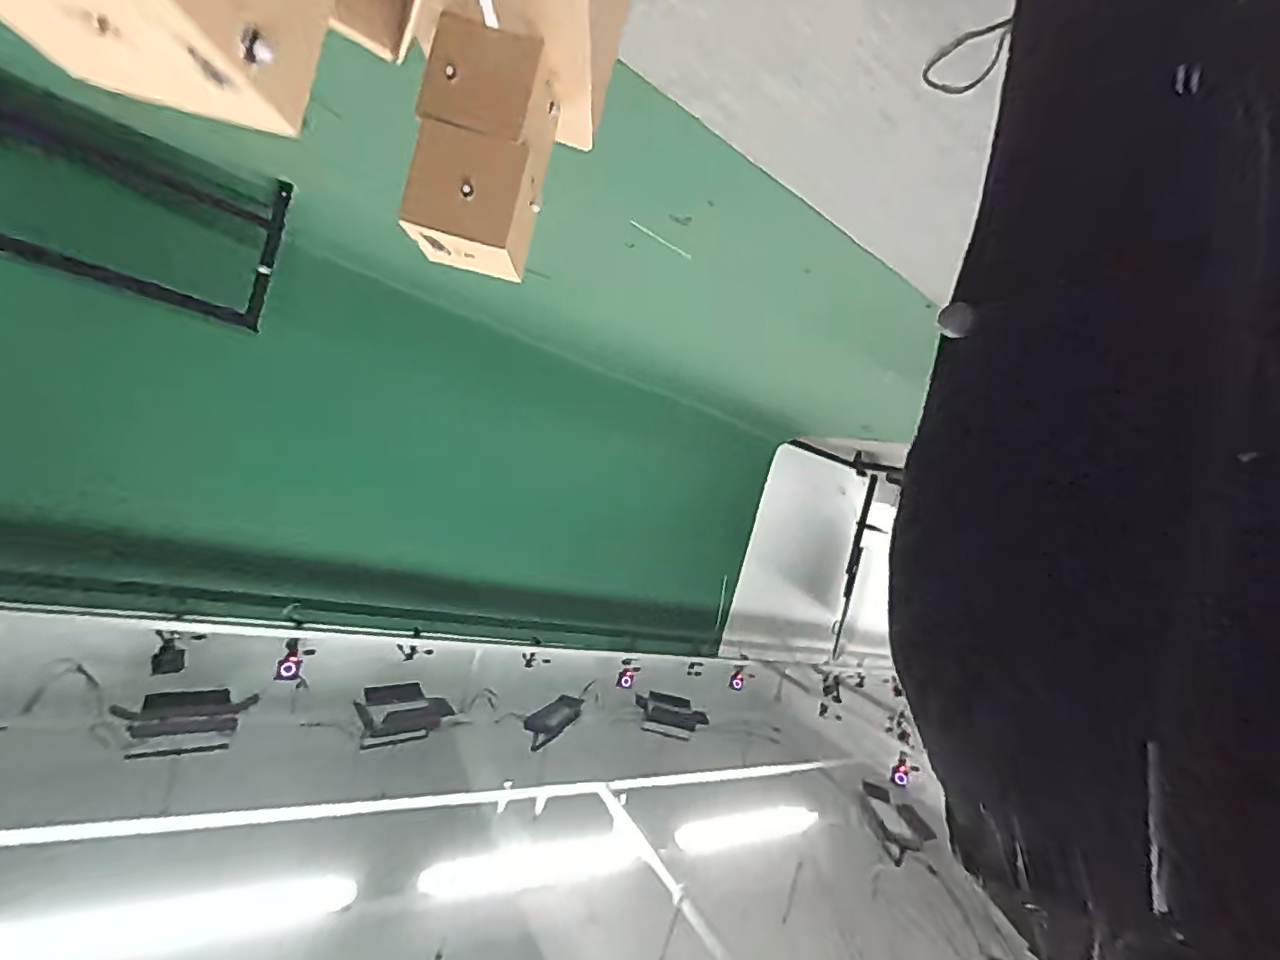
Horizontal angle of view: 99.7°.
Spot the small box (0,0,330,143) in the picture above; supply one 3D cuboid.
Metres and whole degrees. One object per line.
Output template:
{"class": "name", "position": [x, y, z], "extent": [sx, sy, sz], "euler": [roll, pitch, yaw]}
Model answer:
{"class": "small box", "position": [-0.328, -0.370, 0.348], "extent": [0.179, 0.176, 0.168], "euler": [16, 180, -2]}

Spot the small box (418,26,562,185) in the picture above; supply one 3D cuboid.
{"class": "small box", "position": [-0.249, -0.626, 0.932], "extent": [0.179, 0.176, 0.168], "euler": [15, -179, 0]}

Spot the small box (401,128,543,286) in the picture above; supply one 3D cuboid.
{"class": "small box", "position": [-0.280, -0.465, 0.934], "extent": [0.179, 0.176, 0.168], "euler": [14, -179, -5]}
